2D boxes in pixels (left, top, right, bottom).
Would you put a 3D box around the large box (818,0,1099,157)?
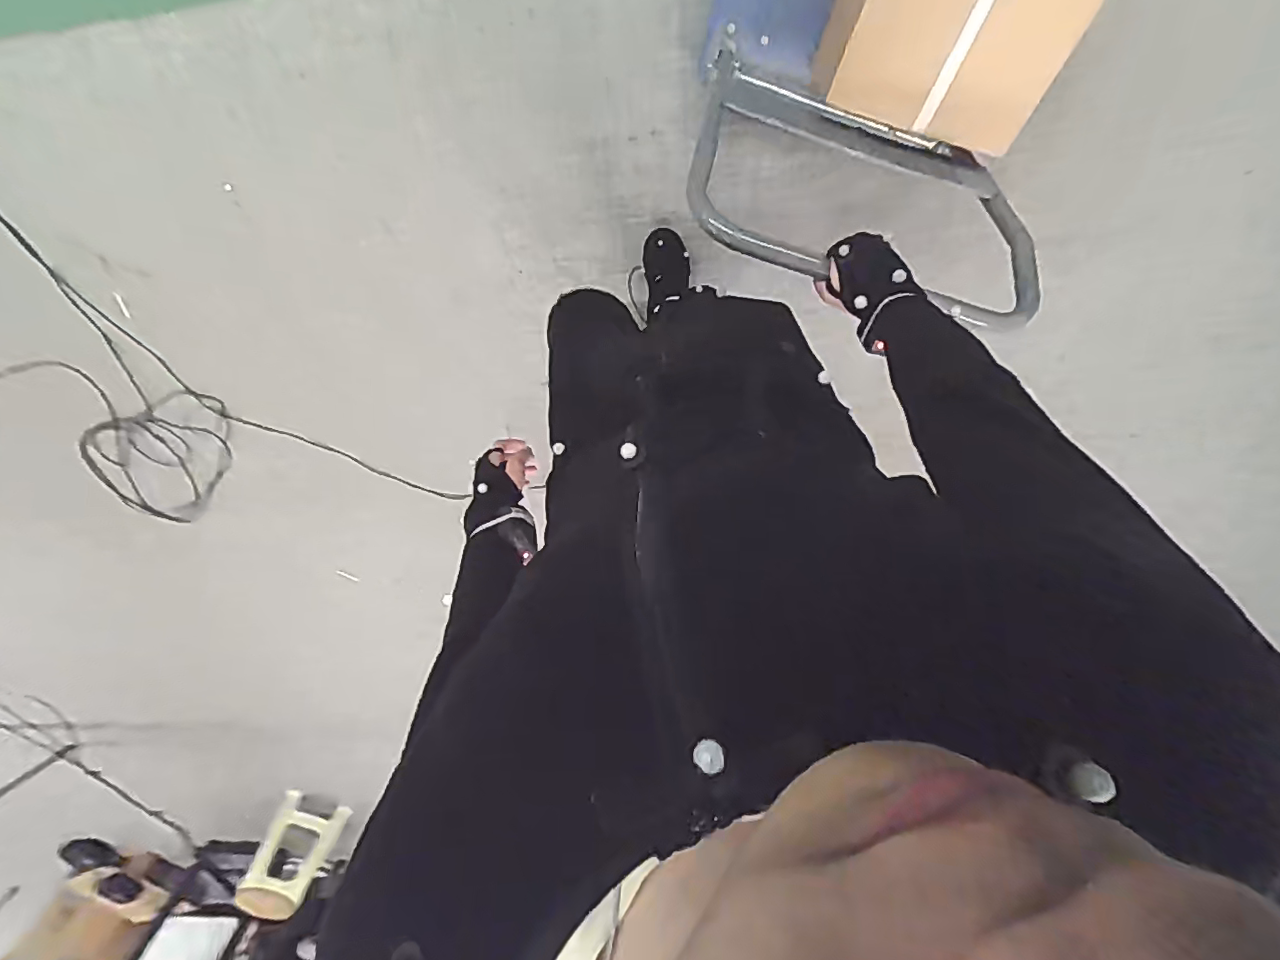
[{"bbox_3d":[0.518,-0.807,0.859,0.320,0.320,0.408,15,134,-3],"label":"large box"}]
